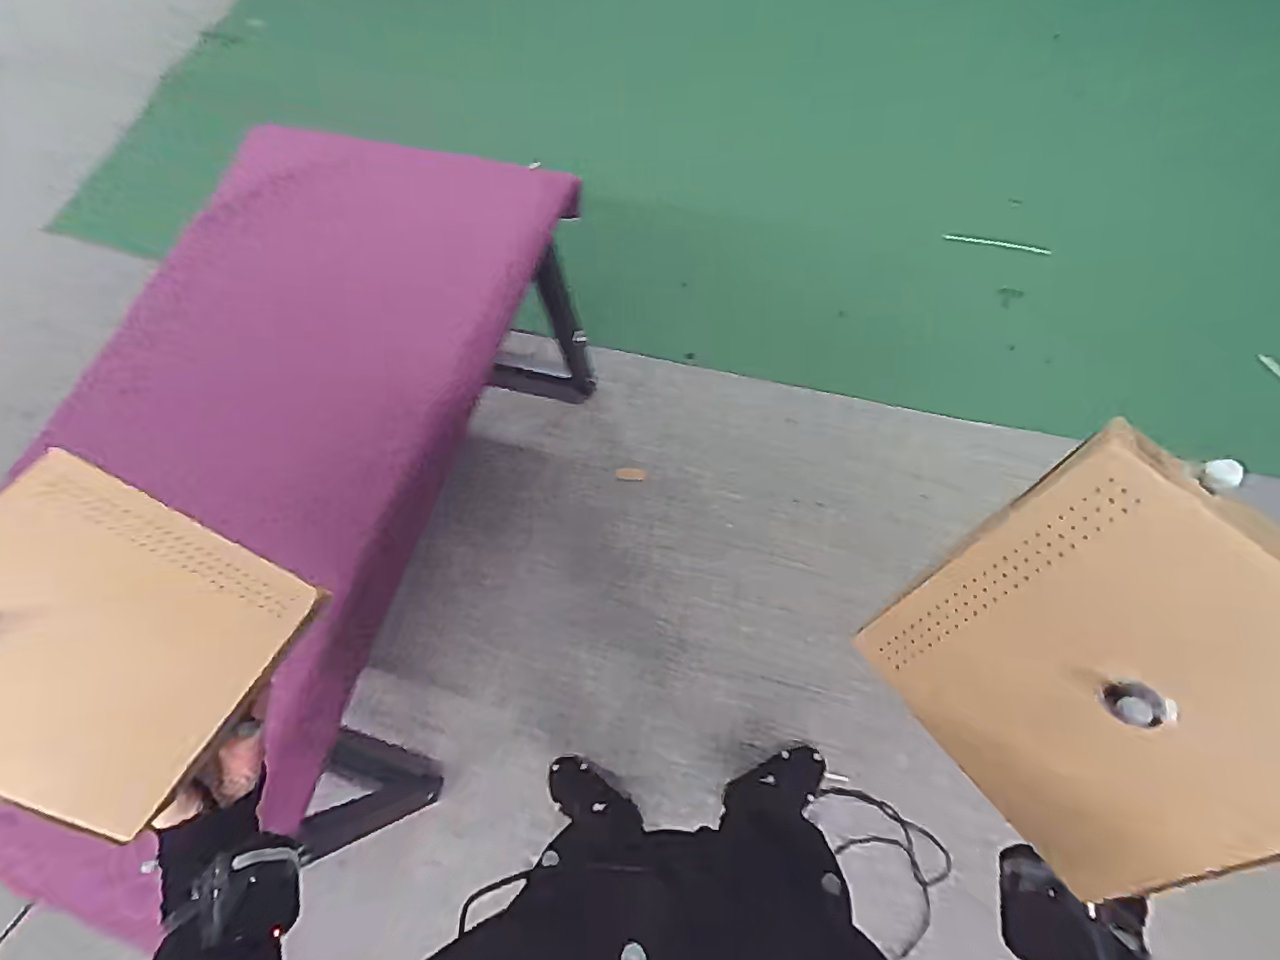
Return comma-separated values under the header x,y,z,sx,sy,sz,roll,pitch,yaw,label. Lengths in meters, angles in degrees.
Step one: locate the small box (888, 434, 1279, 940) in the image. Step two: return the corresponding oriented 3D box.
x,y,z,sx,sy,sz,roll,pitch,yaw,label
0.271,0.096,0.304,0.168,0.179,0.176,-13,55,-46,small box
